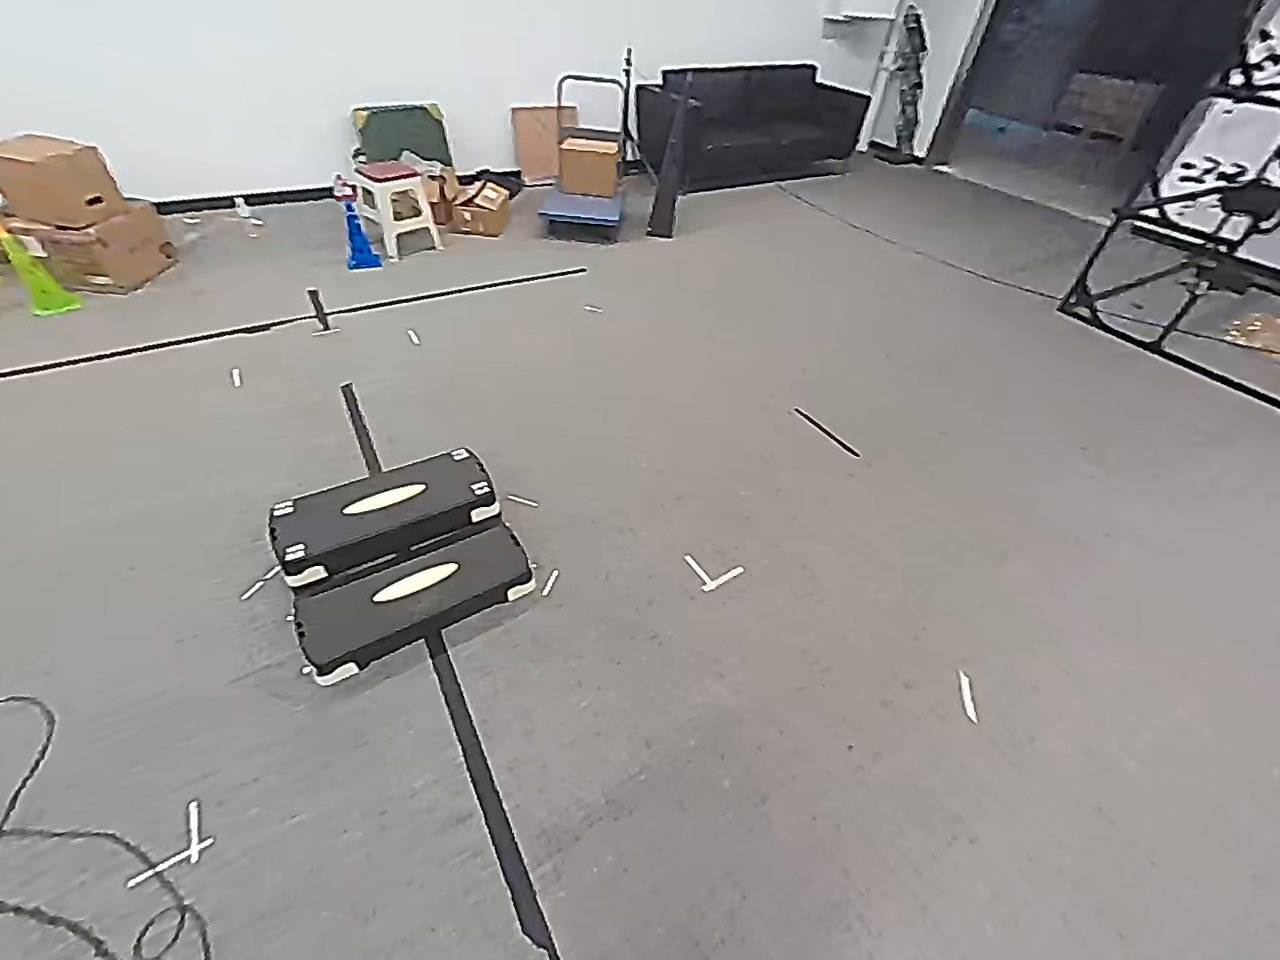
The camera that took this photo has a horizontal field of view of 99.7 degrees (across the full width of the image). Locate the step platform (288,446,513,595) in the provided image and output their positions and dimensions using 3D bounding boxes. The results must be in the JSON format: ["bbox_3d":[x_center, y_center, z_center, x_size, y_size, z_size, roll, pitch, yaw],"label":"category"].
[{"bbox_3d":[-0.794,0.113,1.840,0.684,0.204,0.286,-21,50,-26],"label":"step platform"}]
